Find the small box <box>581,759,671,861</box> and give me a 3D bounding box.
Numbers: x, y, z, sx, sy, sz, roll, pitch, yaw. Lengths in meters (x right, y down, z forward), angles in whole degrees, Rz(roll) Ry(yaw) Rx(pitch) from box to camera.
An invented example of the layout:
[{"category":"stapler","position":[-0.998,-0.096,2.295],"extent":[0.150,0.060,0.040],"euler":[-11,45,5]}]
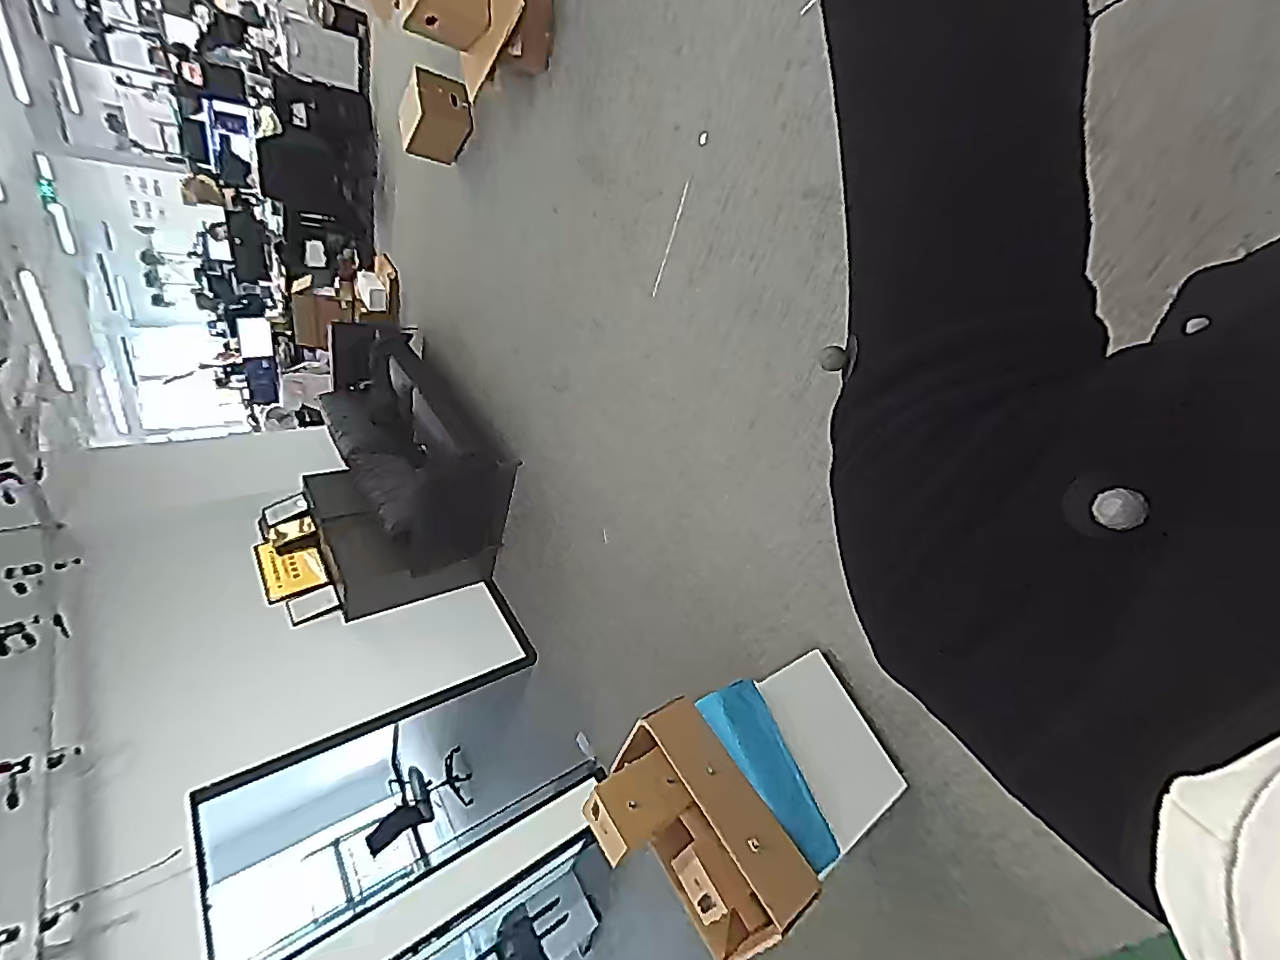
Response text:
[{"category":"small box","position":[-0.043,0.947,1.569],"extent":[0.179,0.176,0.168],"euler":[47,135,32]}]
